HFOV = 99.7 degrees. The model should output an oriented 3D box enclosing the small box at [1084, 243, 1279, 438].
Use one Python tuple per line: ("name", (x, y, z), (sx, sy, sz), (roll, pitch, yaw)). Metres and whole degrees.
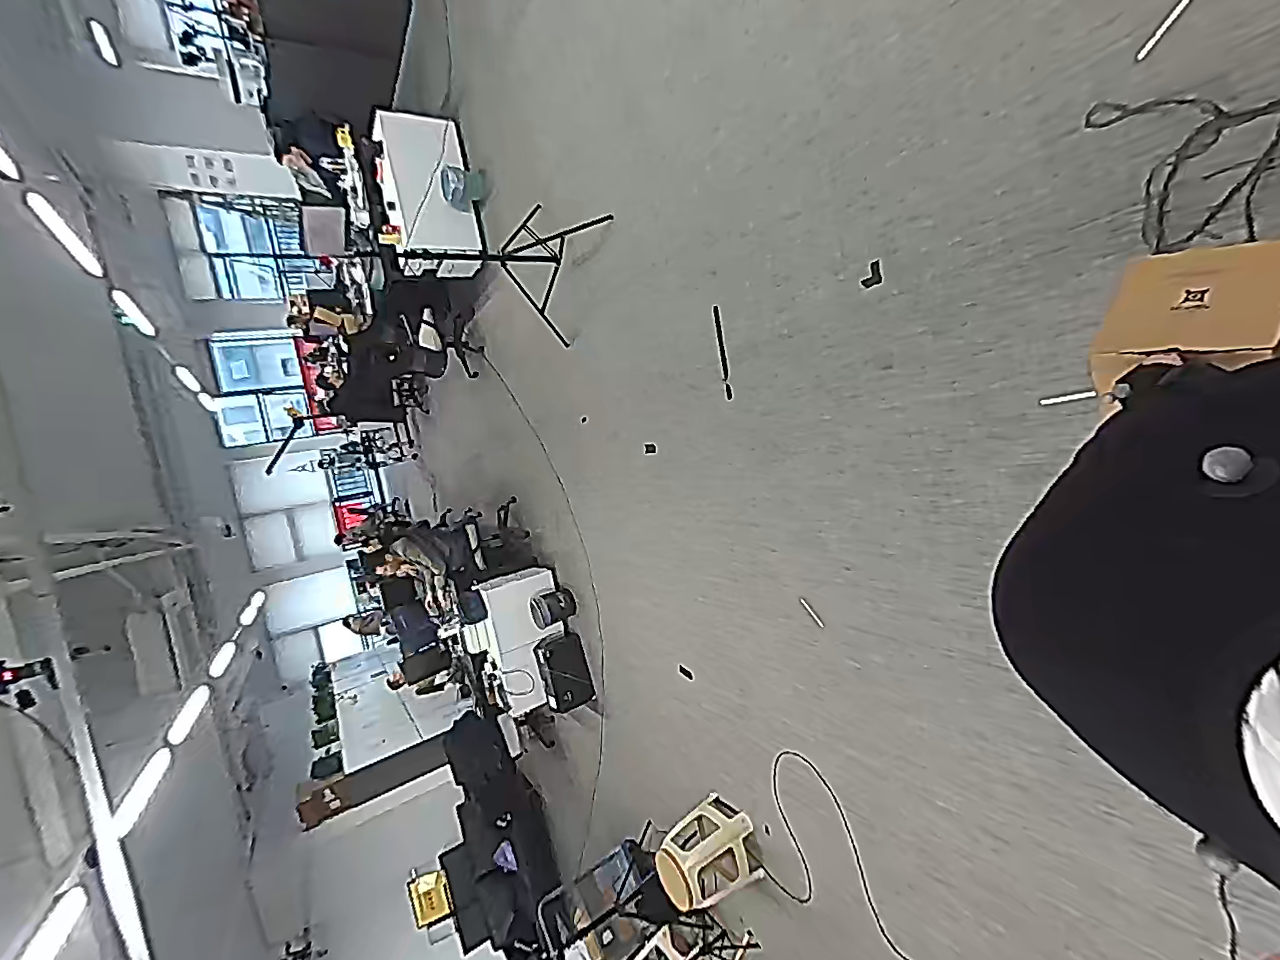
("small box", (0.728, -0.175, 0.713), (0.176, 0.179, 0.168), (43, 164, -35))
